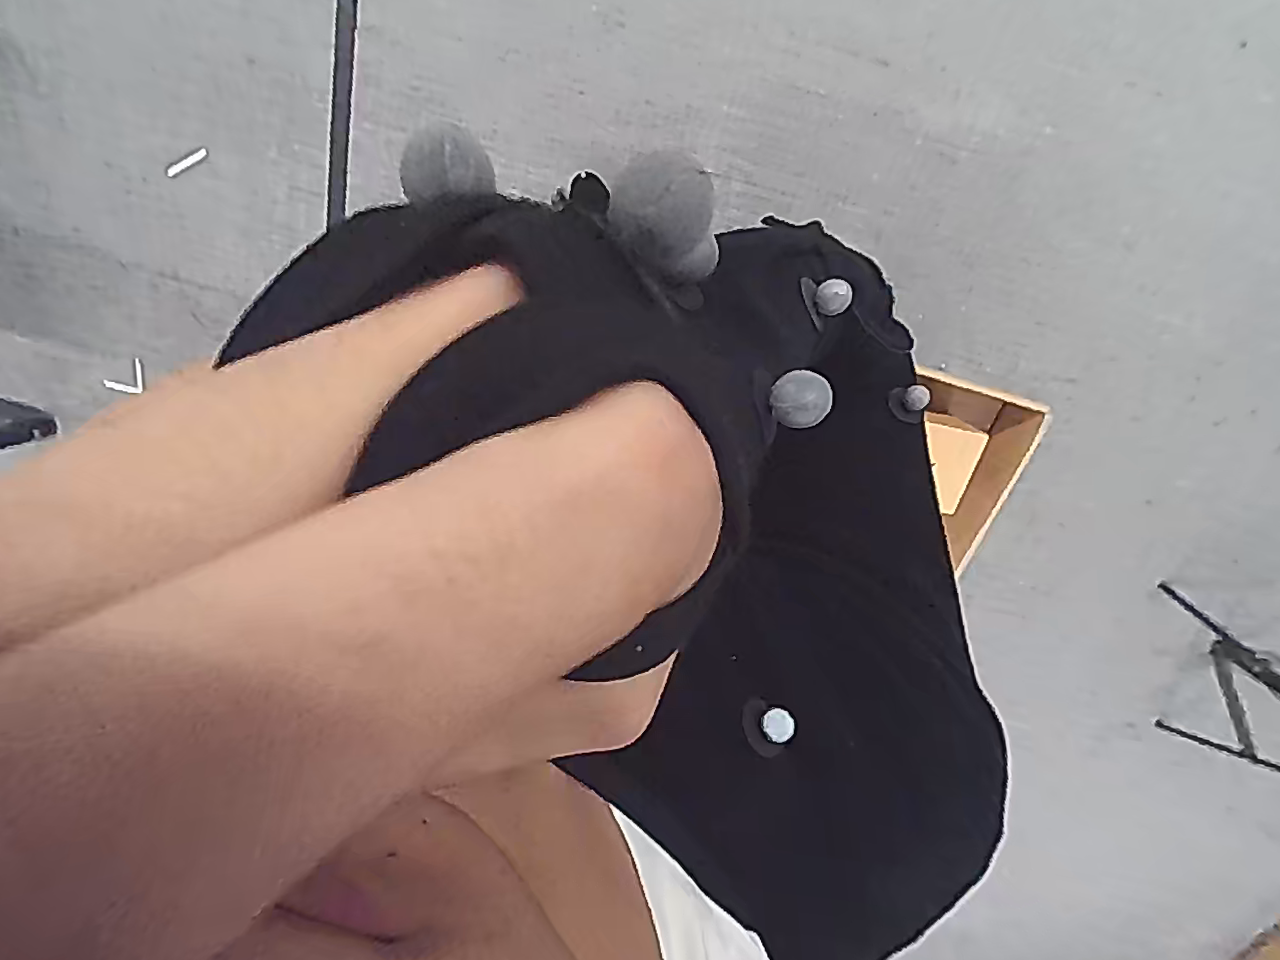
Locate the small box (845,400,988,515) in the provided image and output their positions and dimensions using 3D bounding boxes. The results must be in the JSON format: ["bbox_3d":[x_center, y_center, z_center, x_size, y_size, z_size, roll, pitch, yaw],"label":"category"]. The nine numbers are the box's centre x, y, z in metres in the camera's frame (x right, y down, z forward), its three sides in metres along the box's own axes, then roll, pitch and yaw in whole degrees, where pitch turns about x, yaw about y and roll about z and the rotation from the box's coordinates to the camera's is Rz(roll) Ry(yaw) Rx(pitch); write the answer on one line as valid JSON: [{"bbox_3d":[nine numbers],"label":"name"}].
[{"bbox_3d":[0.539,-0.053,1.082,0.179,0.176,0.168,12,112,0],"label":"small box"}]
